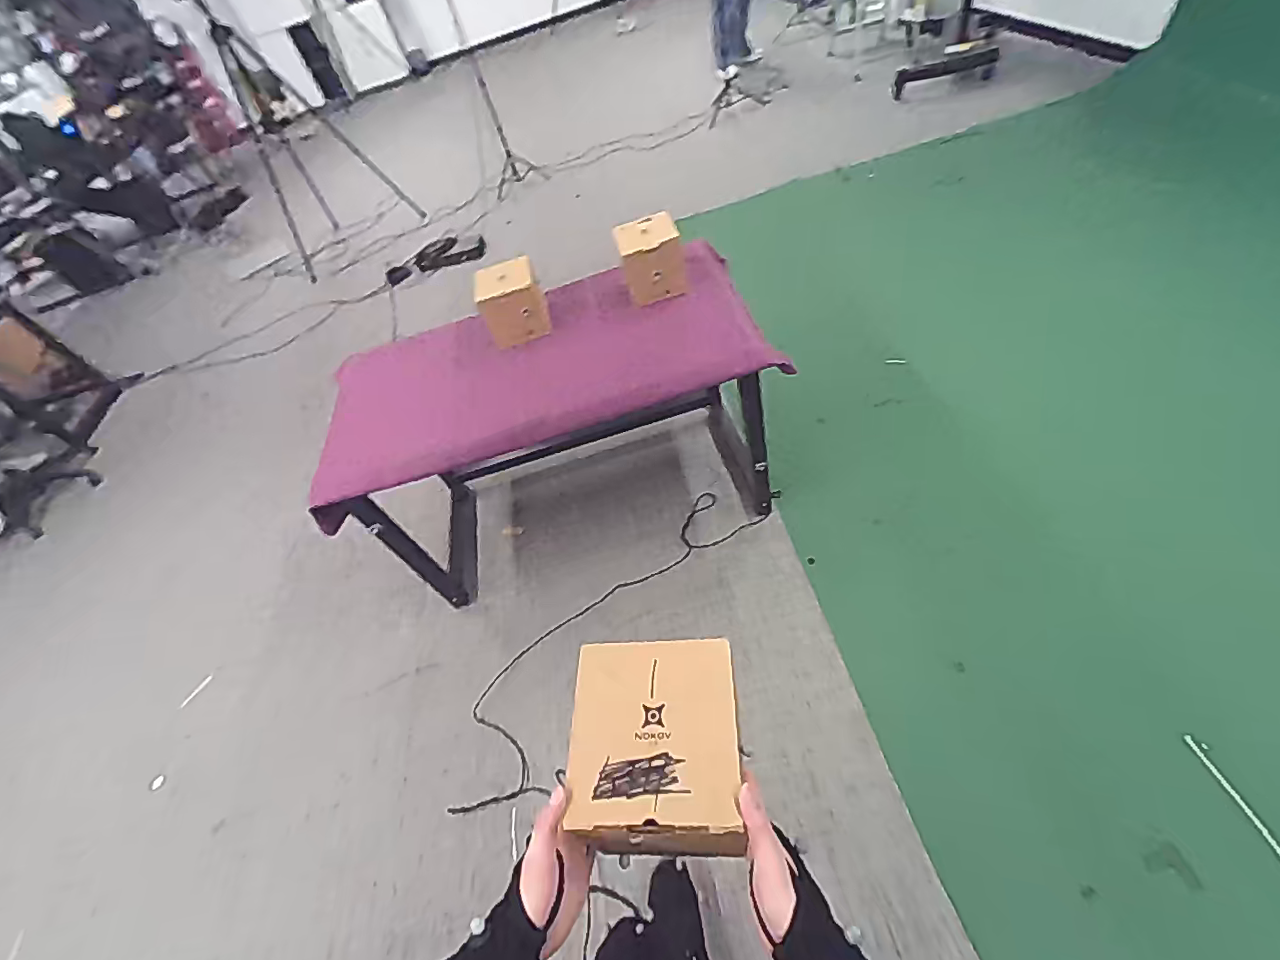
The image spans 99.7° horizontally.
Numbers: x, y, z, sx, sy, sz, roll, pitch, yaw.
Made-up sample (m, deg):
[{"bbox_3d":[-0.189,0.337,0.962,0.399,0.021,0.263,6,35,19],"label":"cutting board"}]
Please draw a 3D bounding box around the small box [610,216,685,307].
[{"bbox_3d":[0.024,-0.622,1.561,0.168,0.176,0.179,-17,49,4],"label":"small box"}]

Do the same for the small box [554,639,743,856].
[{"bbox_3d":[0.019,0.294,0.587,0.168,0.176,0.179,-6,47,9],"label":"small box"}]

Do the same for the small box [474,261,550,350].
[{"bbox_3d":[-0.374,-0.505,1.592,0.168,0.176,0.179,-17,48,2],"label":"small box"}]
